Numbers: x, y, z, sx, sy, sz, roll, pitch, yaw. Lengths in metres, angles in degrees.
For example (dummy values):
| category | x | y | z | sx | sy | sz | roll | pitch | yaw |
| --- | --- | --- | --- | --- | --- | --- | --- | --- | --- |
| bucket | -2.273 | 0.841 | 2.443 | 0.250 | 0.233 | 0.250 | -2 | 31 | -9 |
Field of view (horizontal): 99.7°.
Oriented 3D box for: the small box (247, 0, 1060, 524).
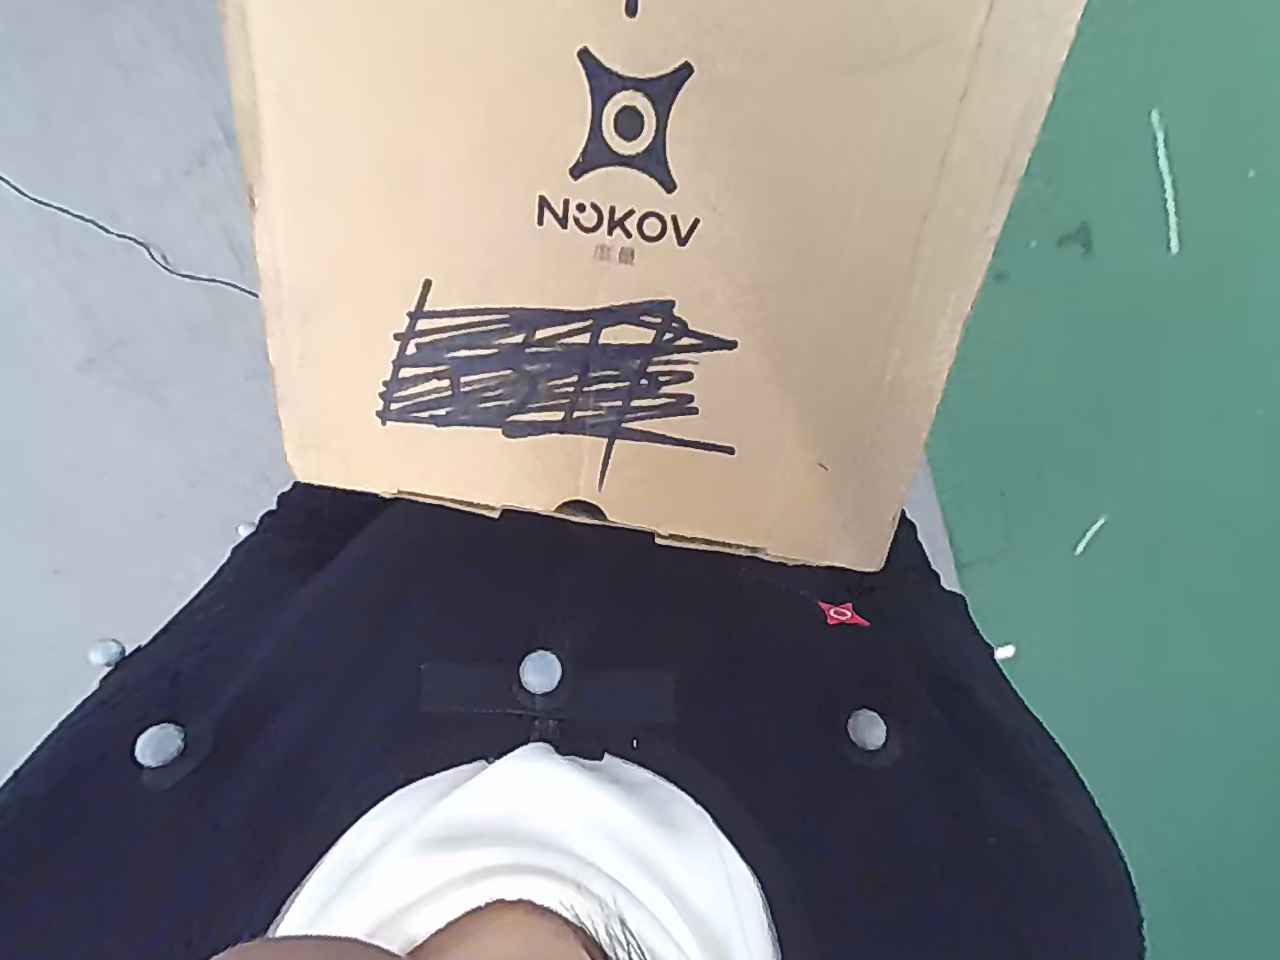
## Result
| category | x | y | z | sx | sy | sz | roll | pitch | yaw |
| --- | --- | --- | --- | --- | --- | --- | --- | --- | --- |
| small box | 0.002 | -0.109 | 0.193 | 0.168 | 0.176 | 0.179 | 8 | 113 | 0 |
